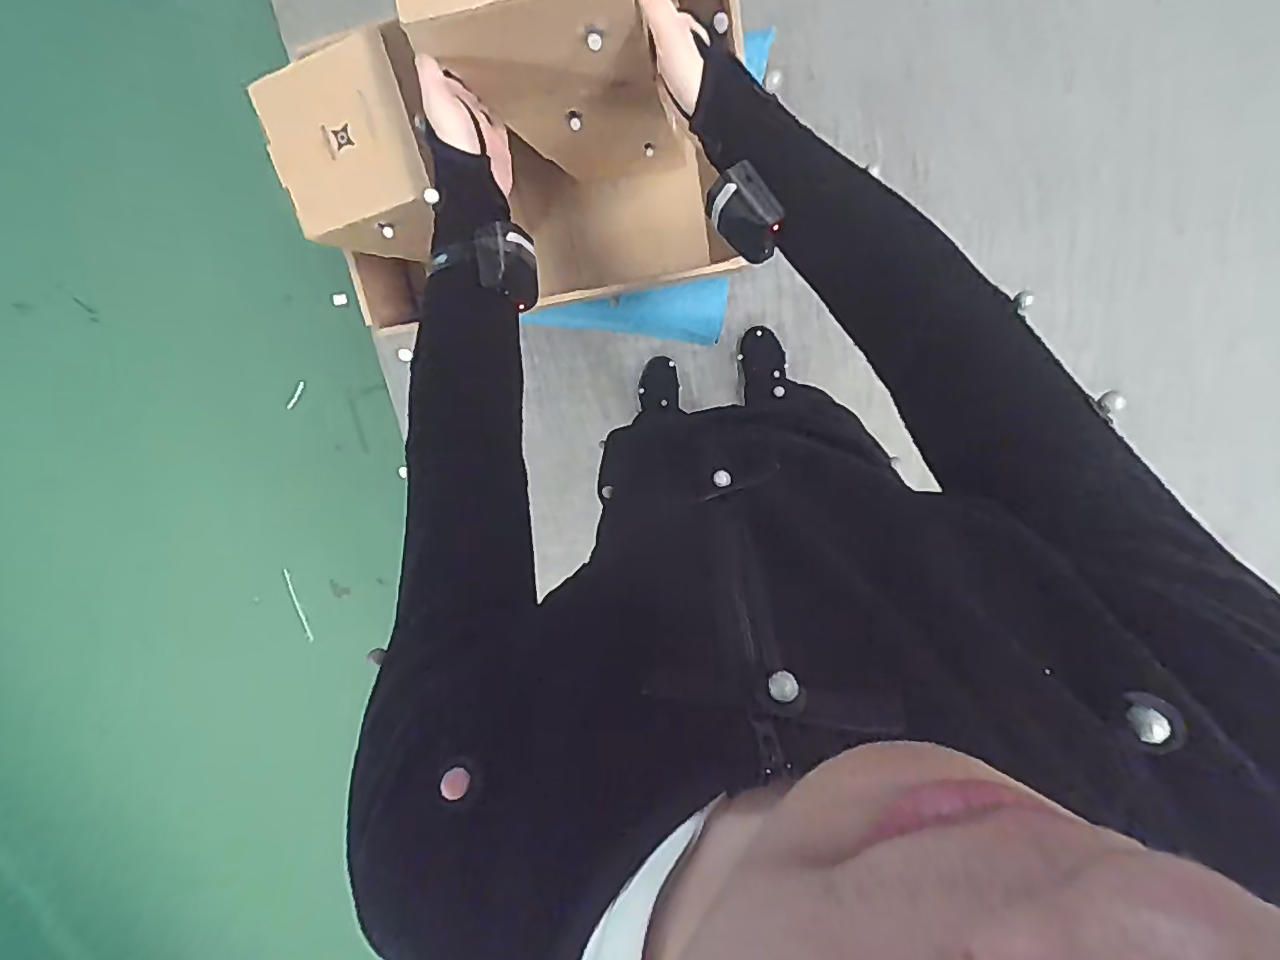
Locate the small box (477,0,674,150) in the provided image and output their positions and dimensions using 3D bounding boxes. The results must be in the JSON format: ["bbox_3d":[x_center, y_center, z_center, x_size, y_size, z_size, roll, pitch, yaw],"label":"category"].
[{"bbox_3d":[-0.063,-0.489,0.599,0.179,0.176,0.168,-3,106,10],"label":"small box"}]

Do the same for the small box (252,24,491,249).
[{"bbox_3d":[-0.314,-0.400,0.670,0.179,0.176,0.168,-12,104,11],"label":"small box"}]
